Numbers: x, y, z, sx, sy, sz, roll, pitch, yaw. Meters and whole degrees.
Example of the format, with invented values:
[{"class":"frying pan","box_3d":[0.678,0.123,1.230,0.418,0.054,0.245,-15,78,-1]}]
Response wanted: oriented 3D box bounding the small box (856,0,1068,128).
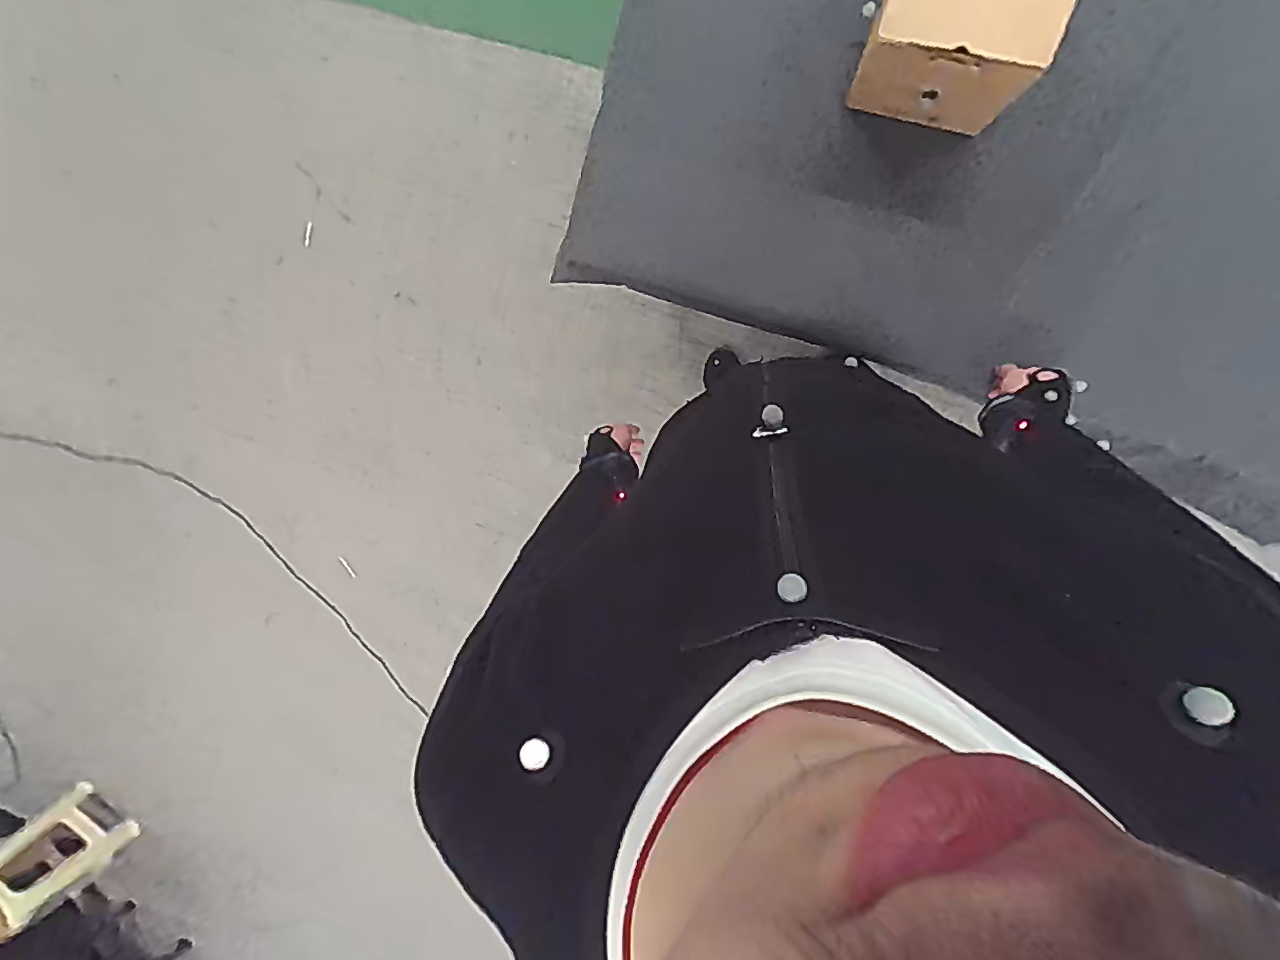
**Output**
[{"class":"small box","box_3d":[0.347,-0.514,0.586,0.168,0.176,0.179,15,106,9]}]
